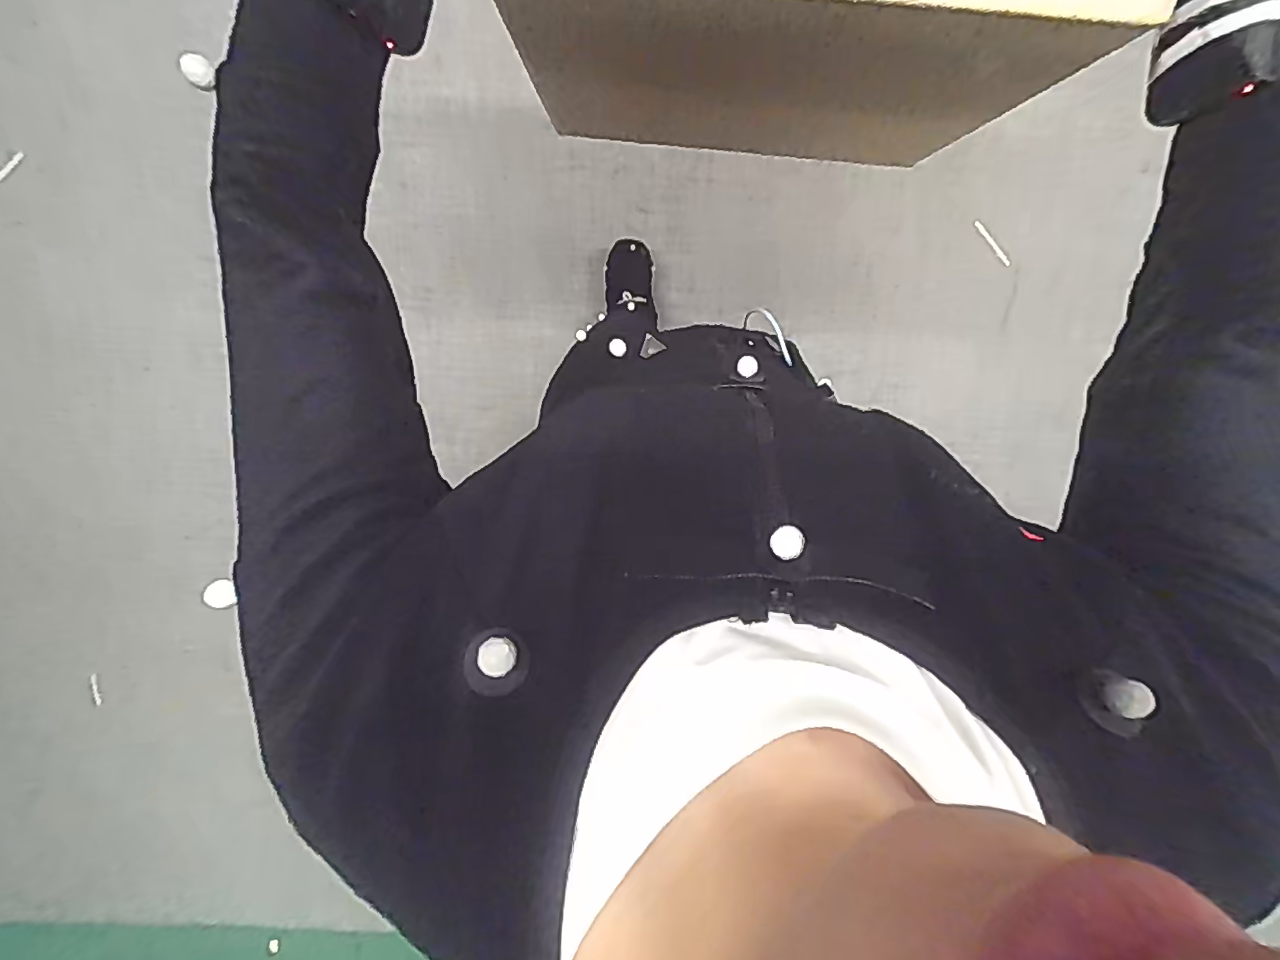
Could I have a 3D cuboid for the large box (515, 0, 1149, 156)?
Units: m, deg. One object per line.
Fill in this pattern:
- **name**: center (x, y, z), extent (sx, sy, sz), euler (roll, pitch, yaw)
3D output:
- **large box**: center (0.117, -0.480, 0.425), extent (0.408, 0.320, 0.320), euler (4, 107, -2)
